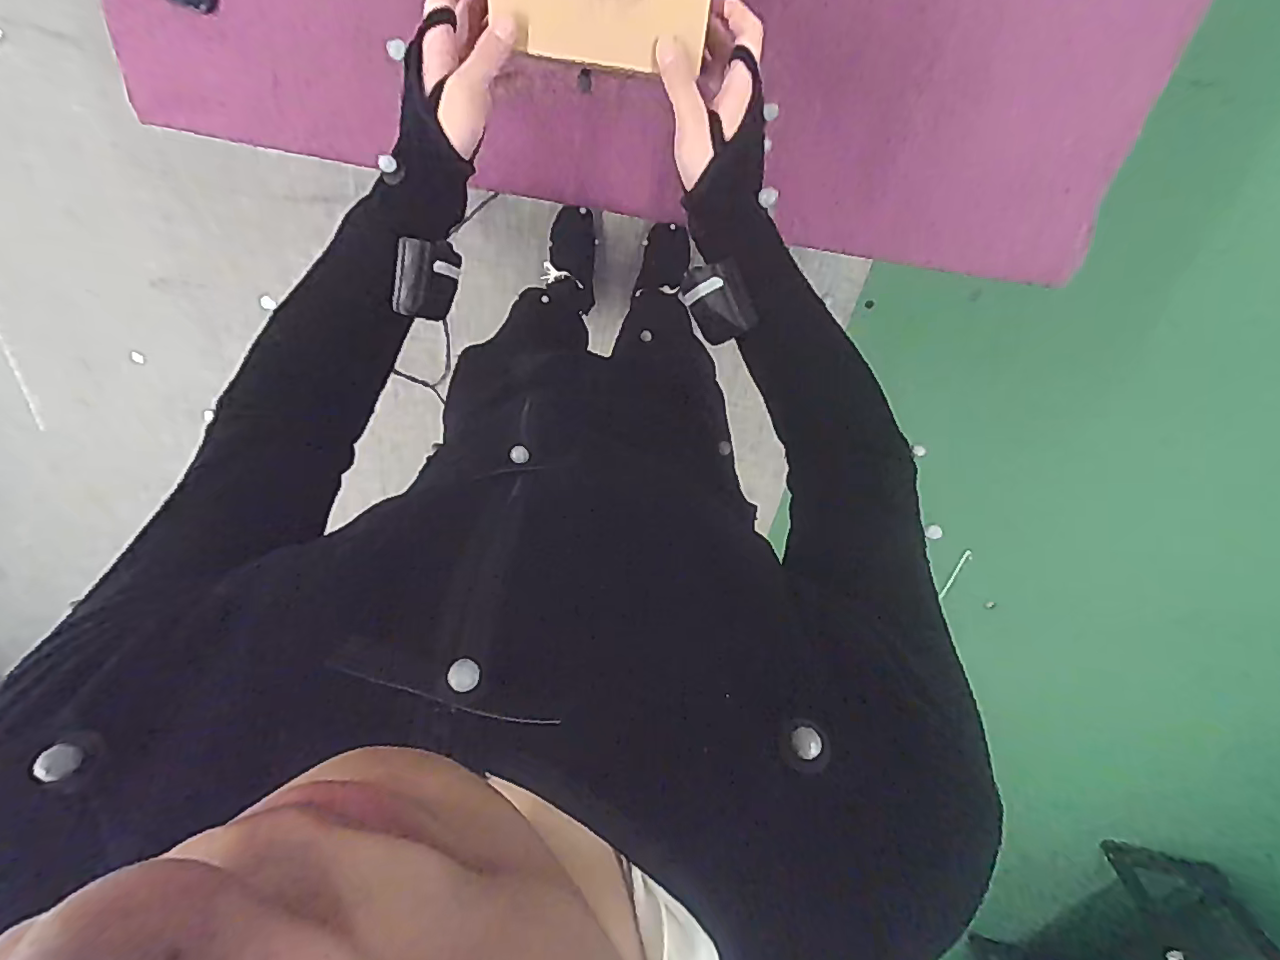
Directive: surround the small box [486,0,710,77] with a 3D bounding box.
[{"bbox_3d":[-0.024,-0.446,0.431,0.168,0.176,0.179,6,124,-5],"label":"small box"}]
